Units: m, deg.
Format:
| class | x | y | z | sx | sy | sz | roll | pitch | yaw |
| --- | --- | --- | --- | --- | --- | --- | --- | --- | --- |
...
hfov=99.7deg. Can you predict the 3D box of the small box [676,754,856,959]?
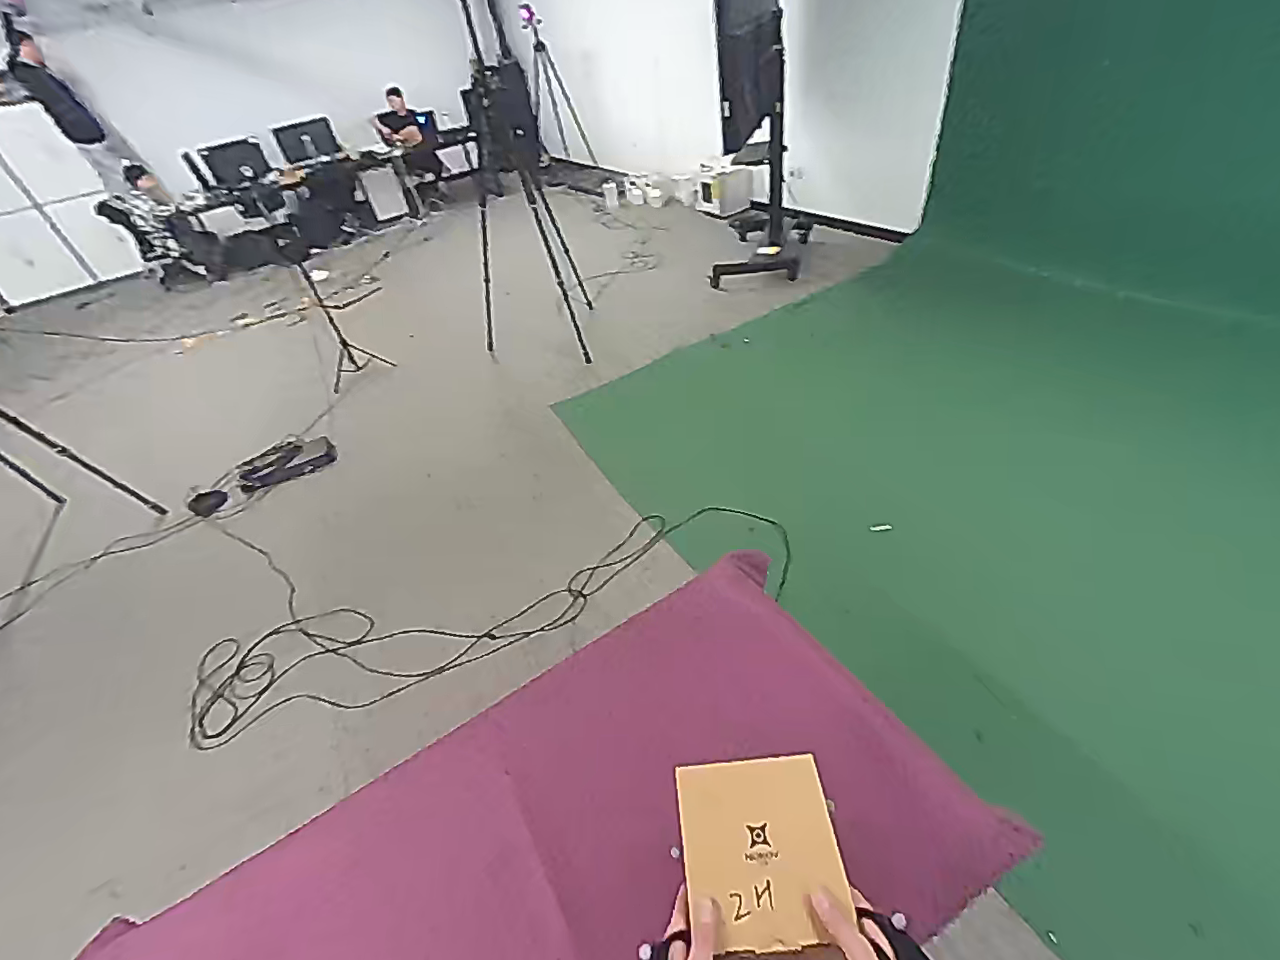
| class | x | y | z | sx | sy | sz | roll | pitch | yaw |
| --- | --- | --- | --- | --- | --- | --- | --- | --- | --- |
| small box | 0.132 | 0.447 | 0.633 | 0.168 | 0.176 | 0.179 | -6 | 43 | 3 |
